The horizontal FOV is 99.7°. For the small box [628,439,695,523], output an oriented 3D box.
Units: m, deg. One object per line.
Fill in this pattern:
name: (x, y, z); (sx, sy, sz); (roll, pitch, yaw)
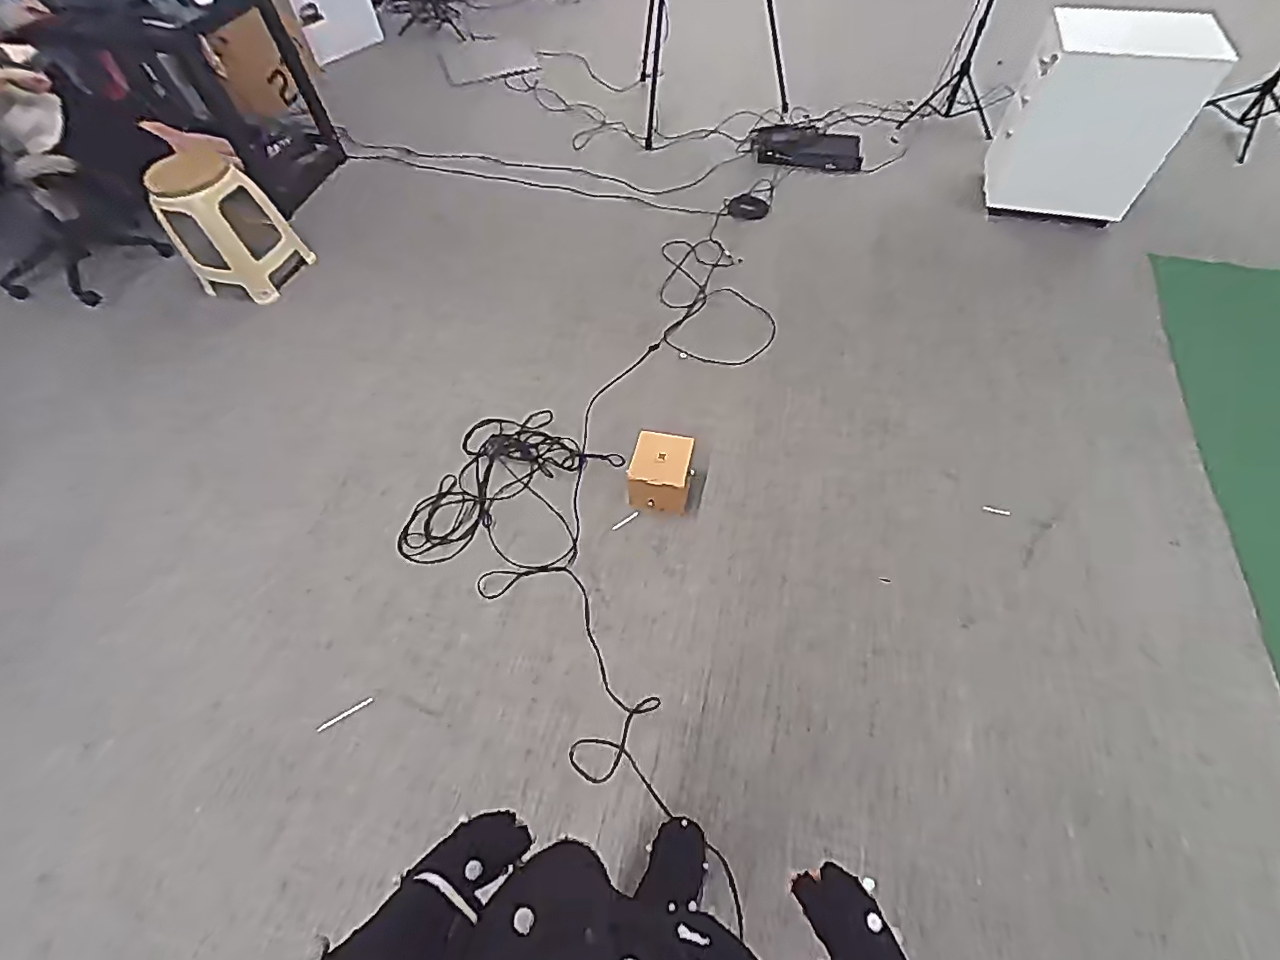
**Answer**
small box: (0.068, 0.004, 1.626); (0.168, 0.176, 0.179); (10, 58, 10)
